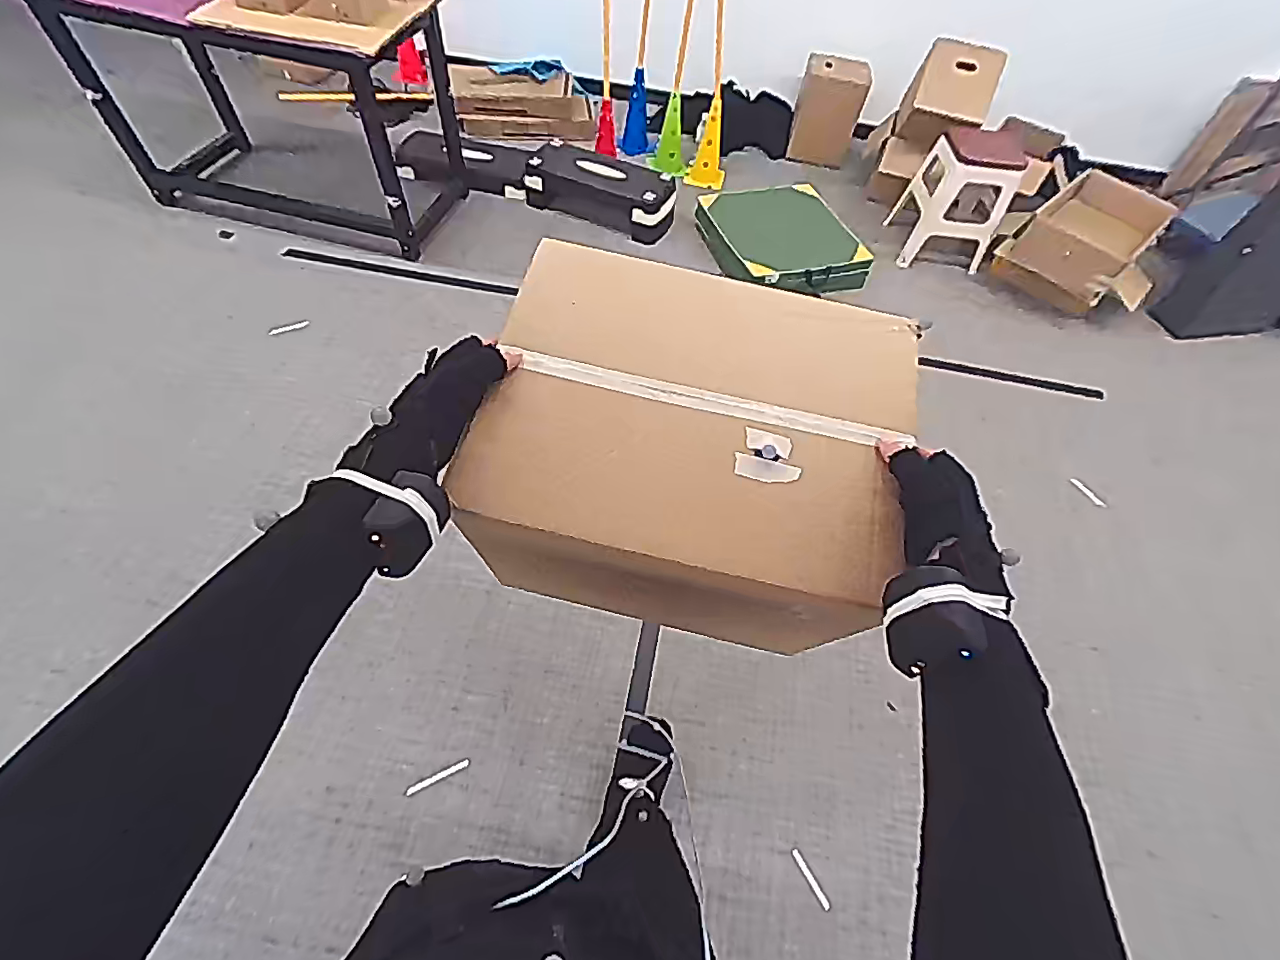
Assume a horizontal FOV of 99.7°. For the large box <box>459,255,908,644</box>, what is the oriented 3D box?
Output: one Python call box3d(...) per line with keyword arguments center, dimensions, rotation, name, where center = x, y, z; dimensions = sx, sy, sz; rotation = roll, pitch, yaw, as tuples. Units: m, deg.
box3d(center=(0.052, -0.012, 0.663), dimensions=(0.408, 0.320, 0.320), rotation=(13, 67, 2), name="large box")
